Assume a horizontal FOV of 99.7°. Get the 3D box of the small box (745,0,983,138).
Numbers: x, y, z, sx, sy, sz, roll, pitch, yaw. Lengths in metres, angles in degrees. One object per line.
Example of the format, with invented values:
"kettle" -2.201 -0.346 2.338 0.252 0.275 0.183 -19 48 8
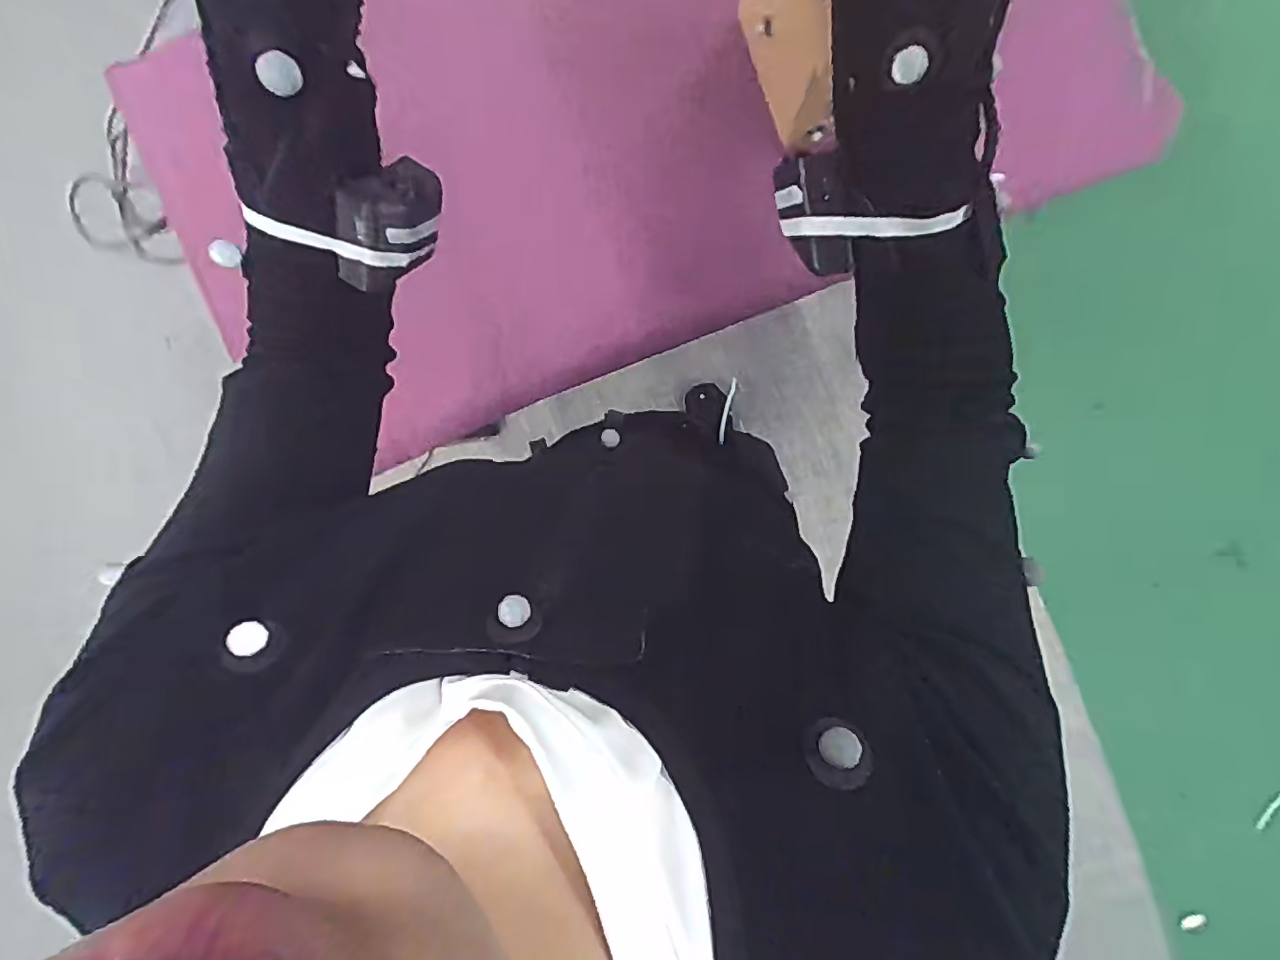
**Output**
"small box" 0.220 -0.503 0.576 0.168 0.176 0.179 -17 96 5
